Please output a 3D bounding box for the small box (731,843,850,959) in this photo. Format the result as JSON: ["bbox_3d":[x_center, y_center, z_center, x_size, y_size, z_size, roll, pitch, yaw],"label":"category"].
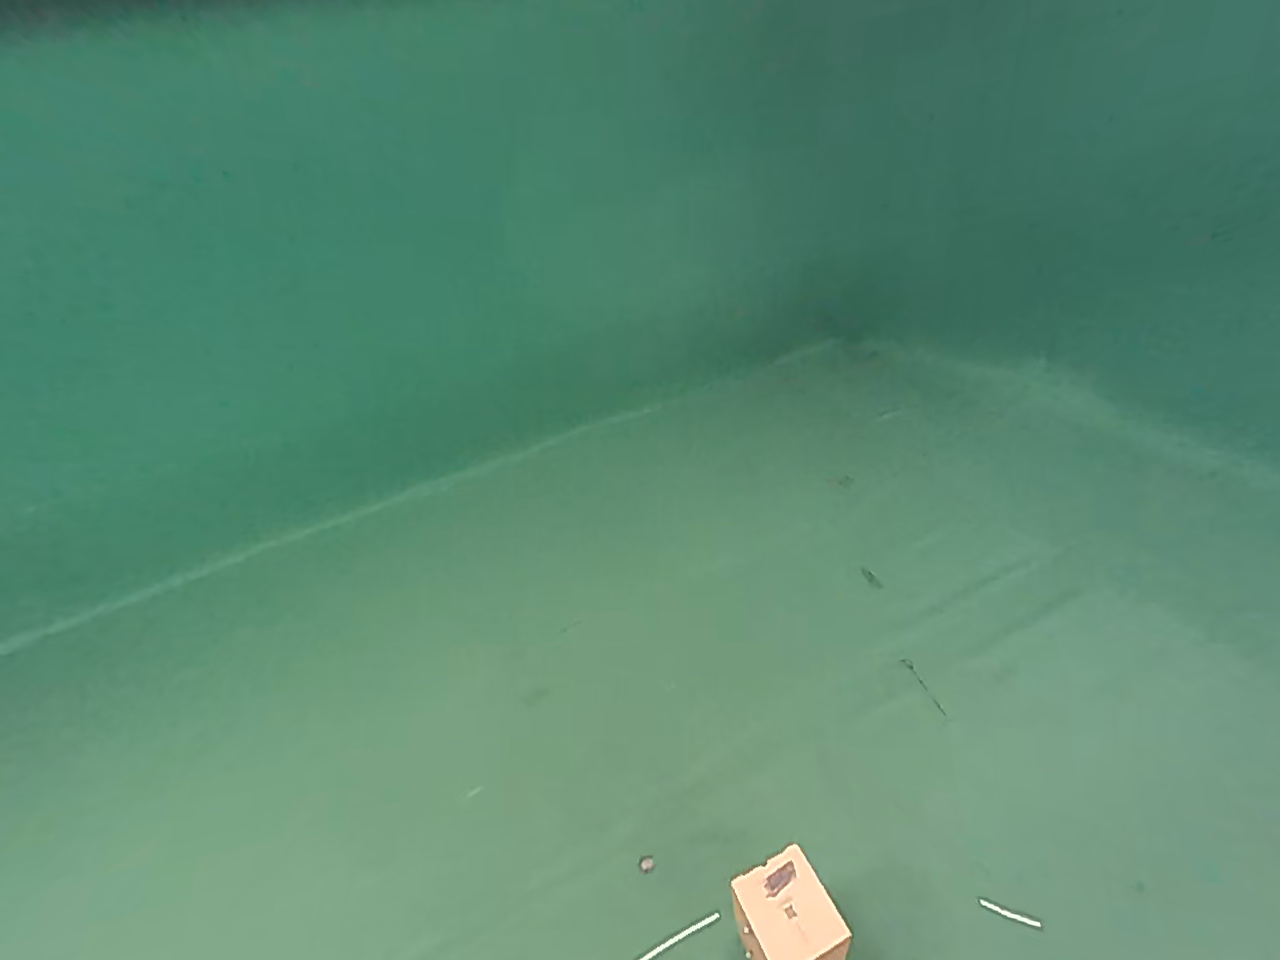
[{"bbox_3d":[0.303,0.906,1.114,0.168,0.176,0.179,-21,38,-14],"label":"small box"}]
